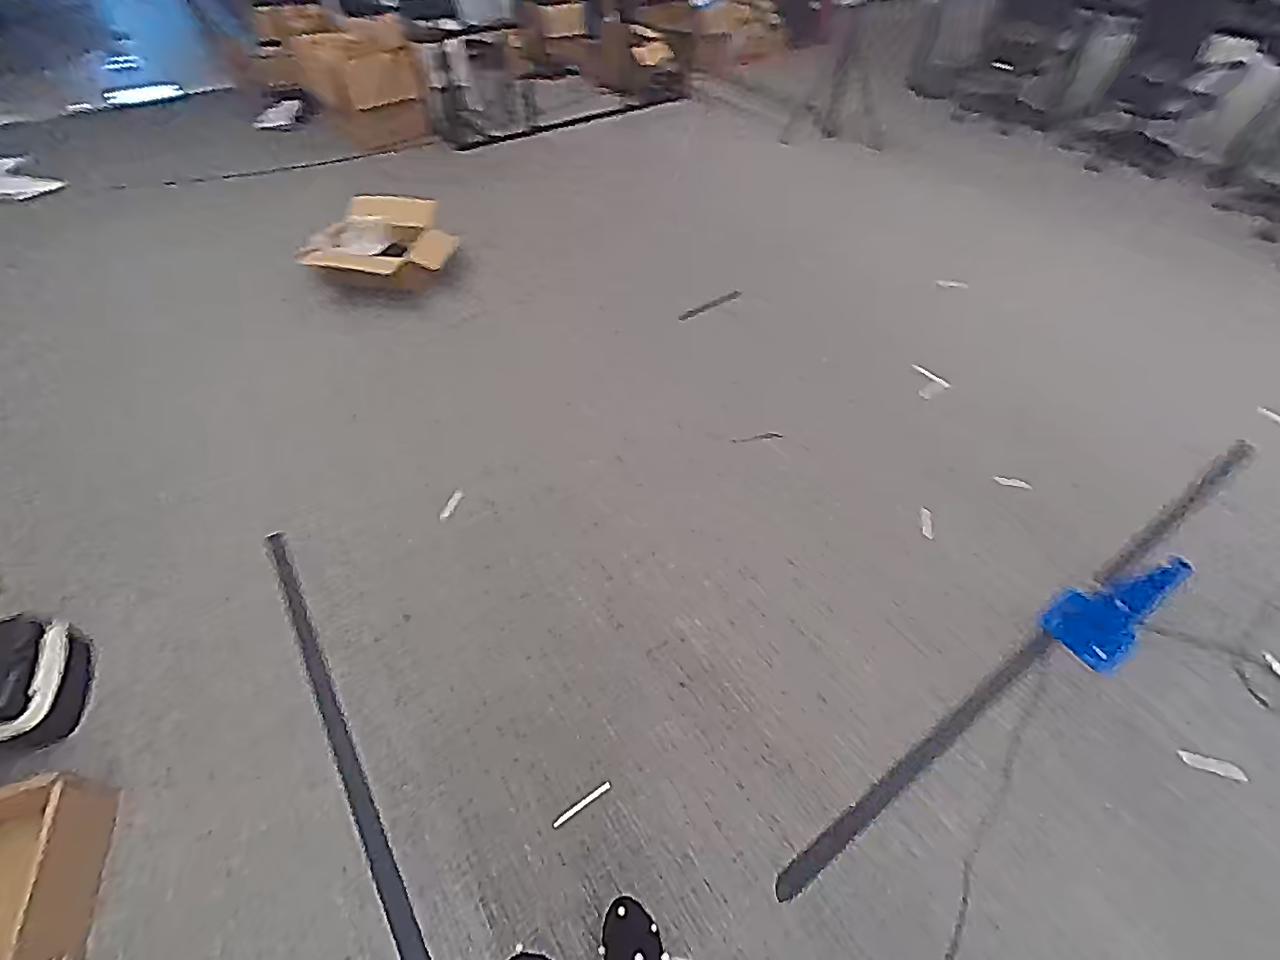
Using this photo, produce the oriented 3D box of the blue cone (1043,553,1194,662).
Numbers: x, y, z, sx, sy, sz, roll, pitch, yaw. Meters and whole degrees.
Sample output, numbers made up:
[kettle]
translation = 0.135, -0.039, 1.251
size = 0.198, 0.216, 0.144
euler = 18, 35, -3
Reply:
[blue cone]
translation = 1.281, 0.298, 1.414
size = 0.192, 0.380, 0.193
euler = -29, 57, -23
